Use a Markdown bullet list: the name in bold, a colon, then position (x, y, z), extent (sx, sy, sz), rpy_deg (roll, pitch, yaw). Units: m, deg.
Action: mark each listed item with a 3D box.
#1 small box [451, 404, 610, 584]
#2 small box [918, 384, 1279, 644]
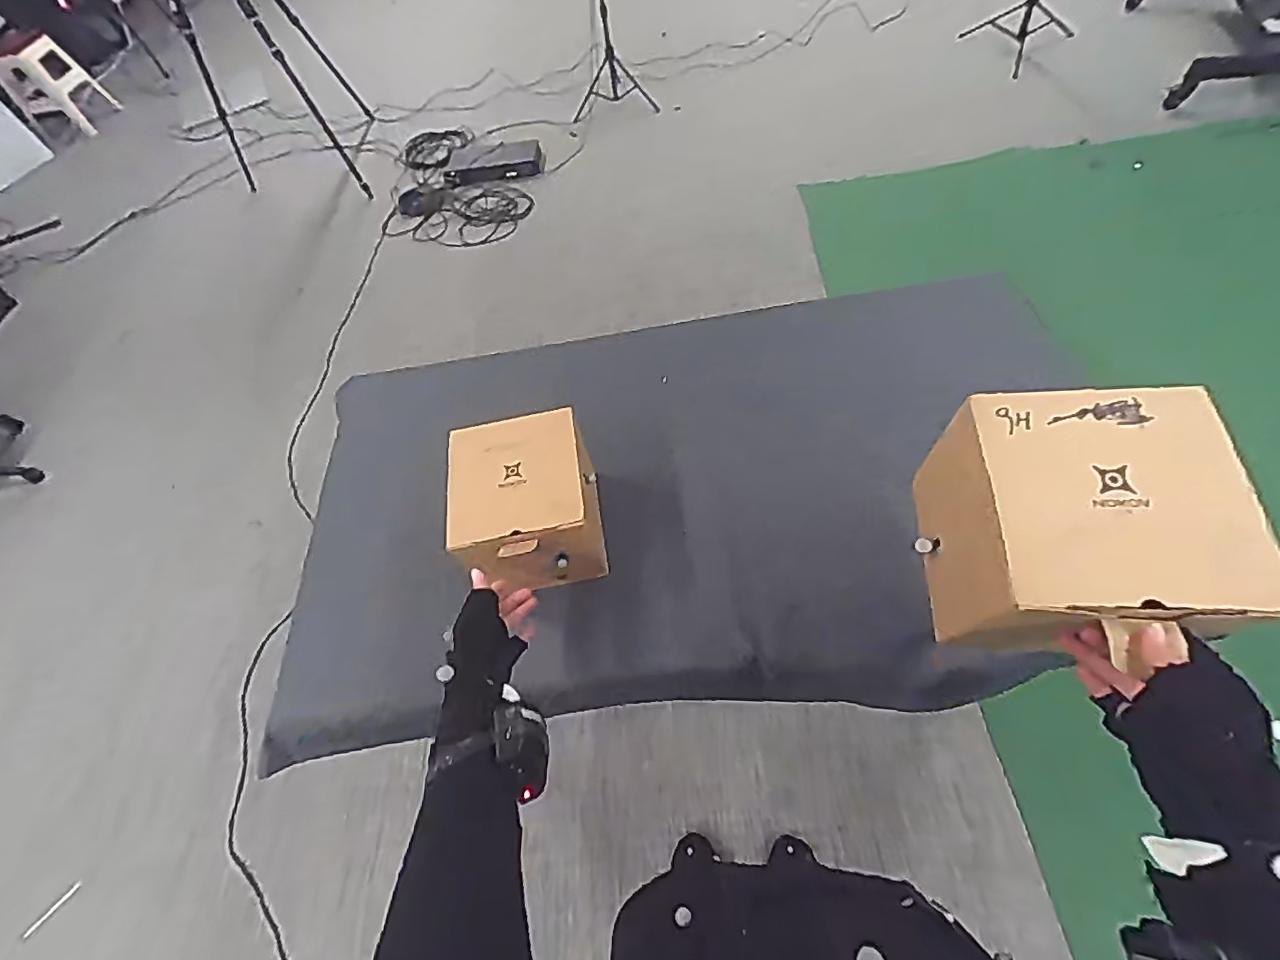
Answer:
- **small box**: position (-0.141, 0.029, 0.731), extent (0.168, 0.176, 0.179), rpy_deg (-12, 58, 0)
- **small box**: position (0.355, 0.039, 0.459), extent (0.168, 0.176, 0.179), rpy_deg (0, 67, 10)
